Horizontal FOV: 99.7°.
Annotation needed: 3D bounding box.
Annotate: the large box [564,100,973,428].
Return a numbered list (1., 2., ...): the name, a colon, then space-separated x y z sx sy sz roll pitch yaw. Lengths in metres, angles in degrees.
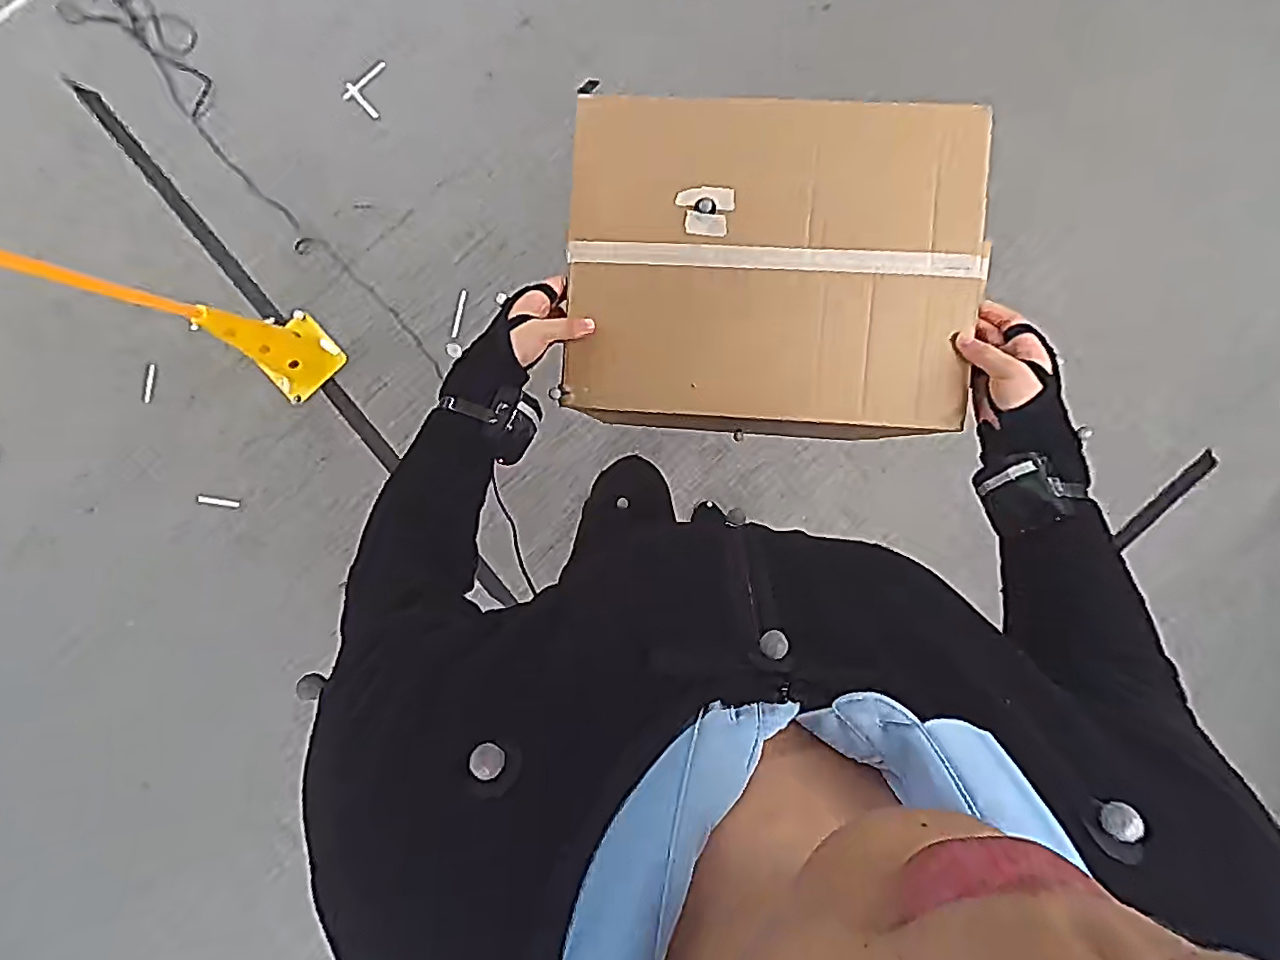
1. large box: 0.137 -0.231 0.696 0.408 0.320 0.320 3 92 5
